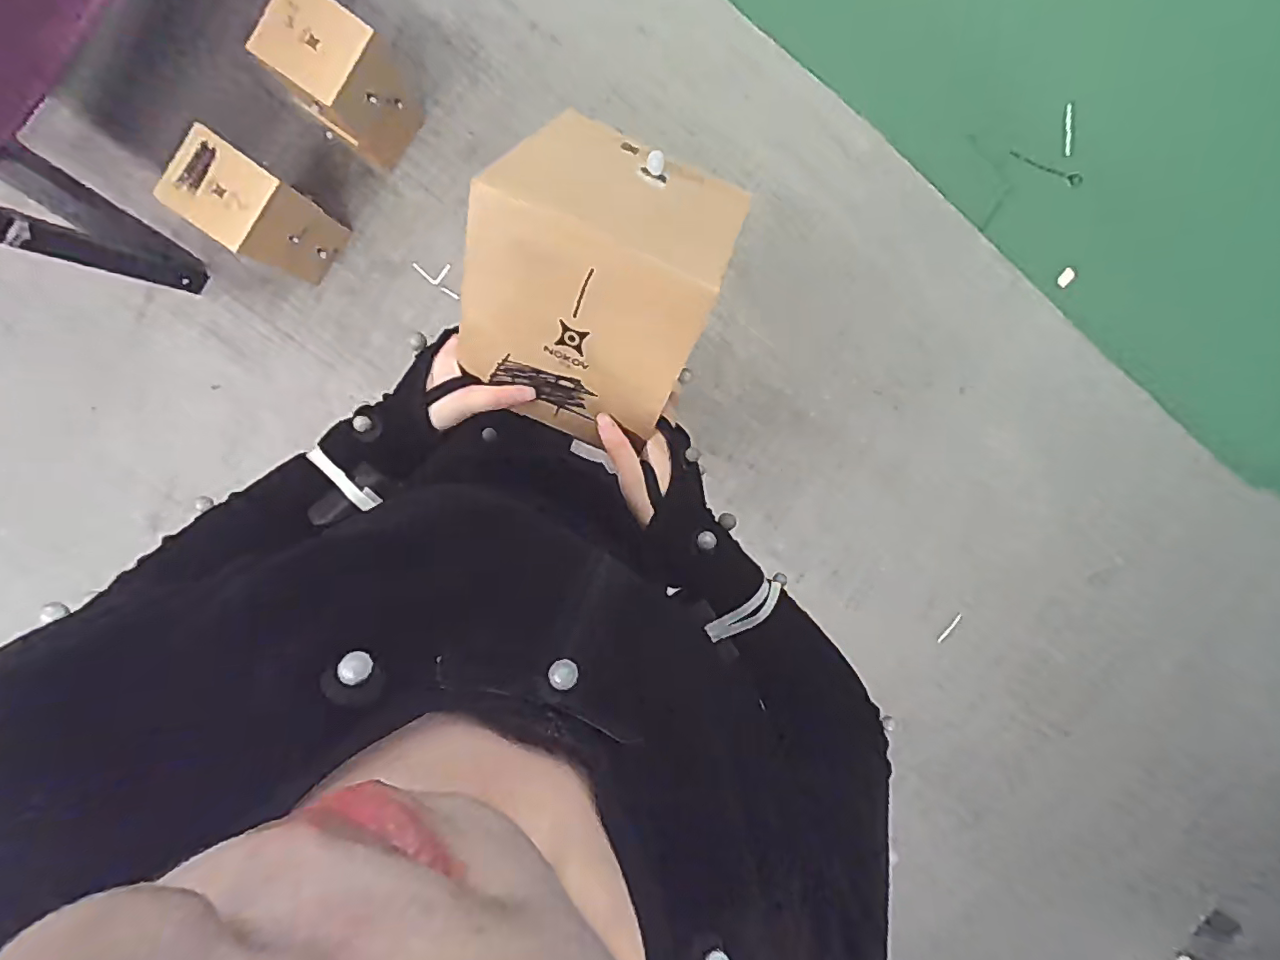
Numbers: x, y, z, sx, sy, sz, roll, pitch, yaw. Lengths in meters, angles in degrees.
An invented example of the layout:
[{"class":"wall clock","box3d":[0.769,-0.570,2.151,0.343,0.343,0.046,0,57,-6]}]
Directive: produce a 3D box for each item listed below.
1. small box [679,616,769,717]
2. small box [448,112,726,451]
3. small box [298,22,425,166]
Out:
[{"class":"small box","box3d":[0.224,0.511,1.509,0.168,0.176,0.179,34,96,-7]},{"class":"small box","box3d":[-0.041,-0.163,0.452,0.168,0.176,0.179,23,138,-4]},{"class":"small box","box3d":[-0.629,-0.872,1.246,0.168,0.176,0.179,36,95,-8]}]
